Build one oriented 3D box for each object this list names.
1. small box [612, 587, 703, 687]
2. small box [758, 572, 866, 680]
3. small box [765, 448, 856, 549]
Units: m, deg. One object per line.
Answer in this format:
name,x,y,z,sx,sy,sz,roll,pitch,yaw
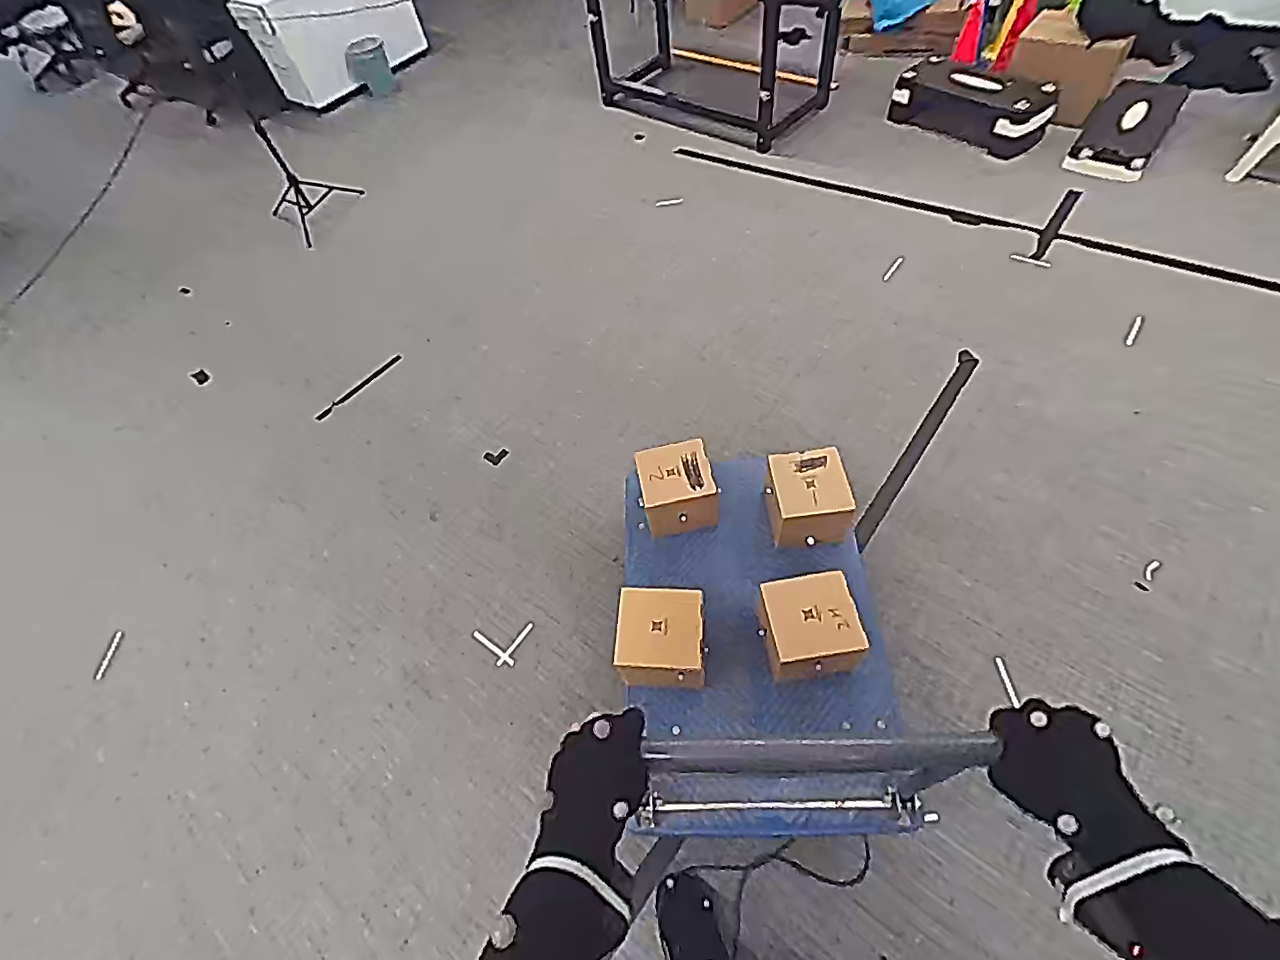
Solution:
small box,0.046,0.343,1.174,0.179,0.176,0.168,1,57,8
small box,0.351,0.313,1.144,0.179,0.176,0.168,-10,57,3
small box,0.402,0.047,1.308,0.168,0.176,0.179,-7,58,5
